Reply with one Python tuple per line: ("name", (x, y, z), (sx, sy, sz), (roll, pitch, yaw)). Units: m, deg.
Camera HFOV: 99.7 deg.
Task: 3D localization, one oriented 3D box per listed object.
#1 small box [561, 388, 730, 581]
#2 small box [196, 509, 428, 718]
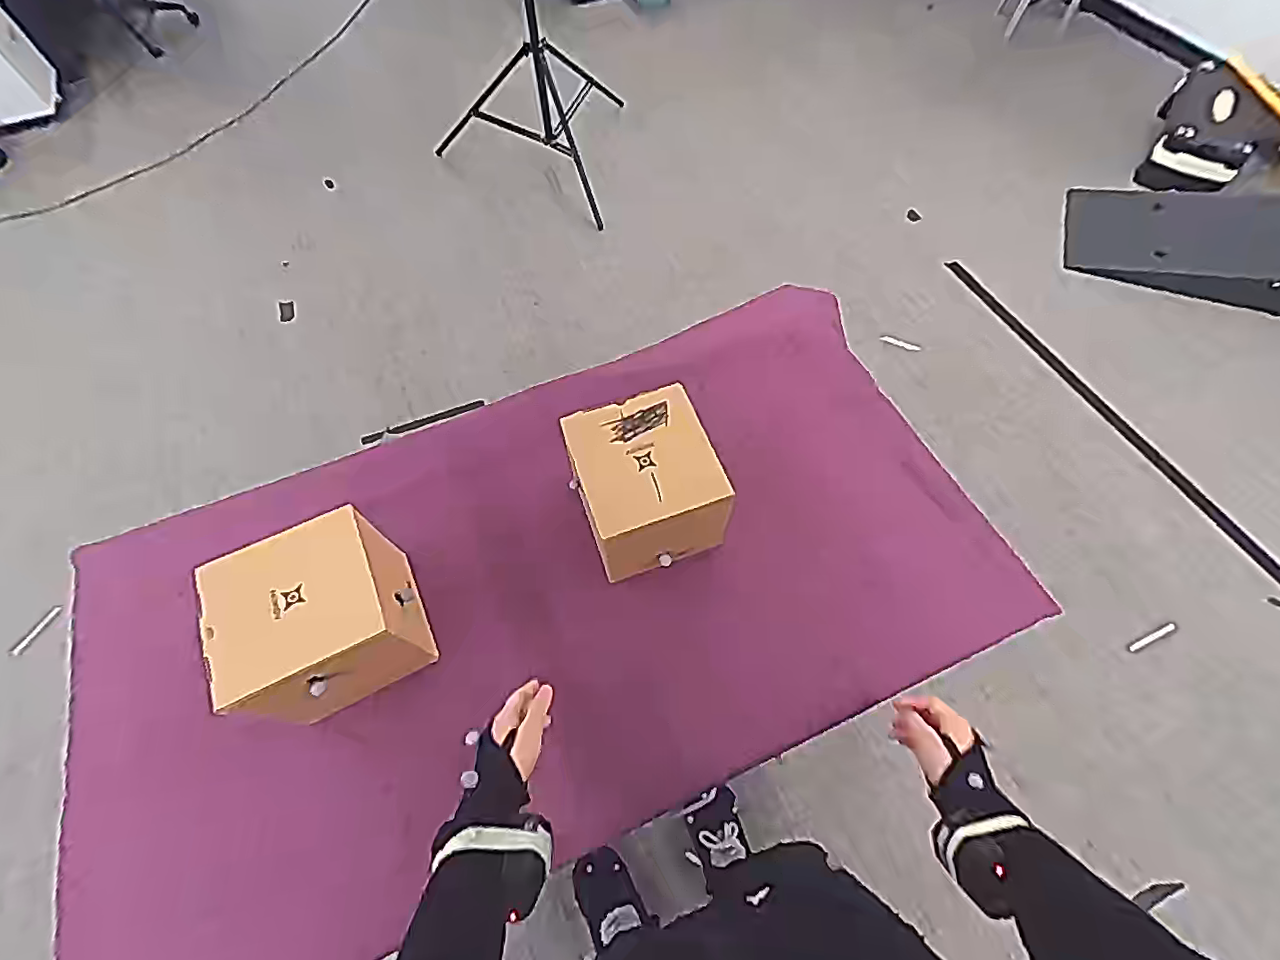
("small box", (0.003, 0.011, 0.725), (0.168, 0.176, 0.179), (-18, 64, -8))
("small box", (-0.376, 0.166, 0.651), (0.179, 0.176, 0.168), (-25, 65, -11))
